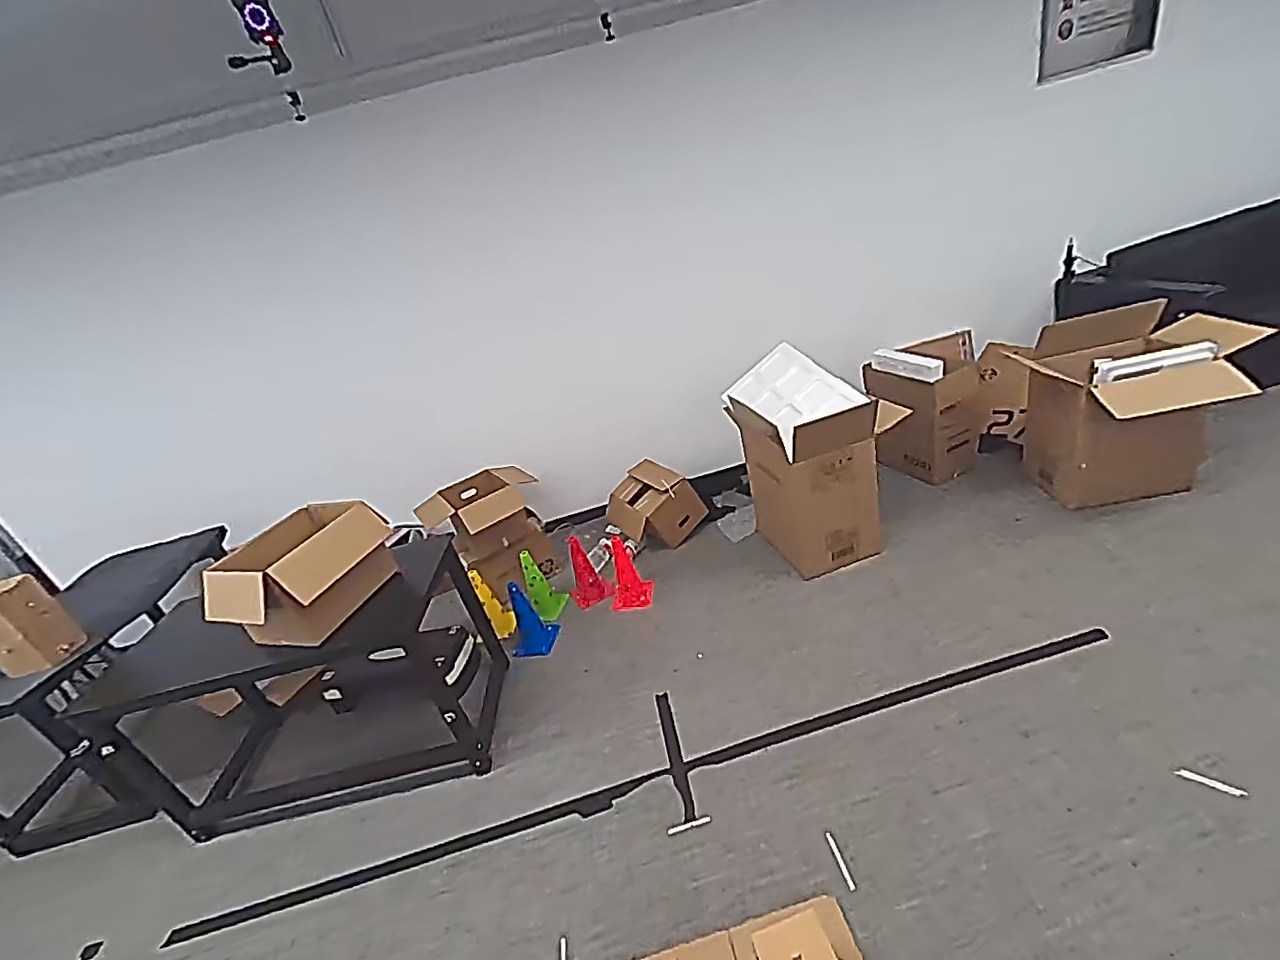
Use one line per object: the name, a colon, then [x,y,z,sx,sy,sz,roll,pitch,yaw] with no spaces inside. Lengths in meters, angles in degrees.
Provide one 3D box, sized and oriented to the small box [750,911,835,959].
small box: [0.368,1.144,1.226,0.168,0.176,0.179,-19,26,-7]
